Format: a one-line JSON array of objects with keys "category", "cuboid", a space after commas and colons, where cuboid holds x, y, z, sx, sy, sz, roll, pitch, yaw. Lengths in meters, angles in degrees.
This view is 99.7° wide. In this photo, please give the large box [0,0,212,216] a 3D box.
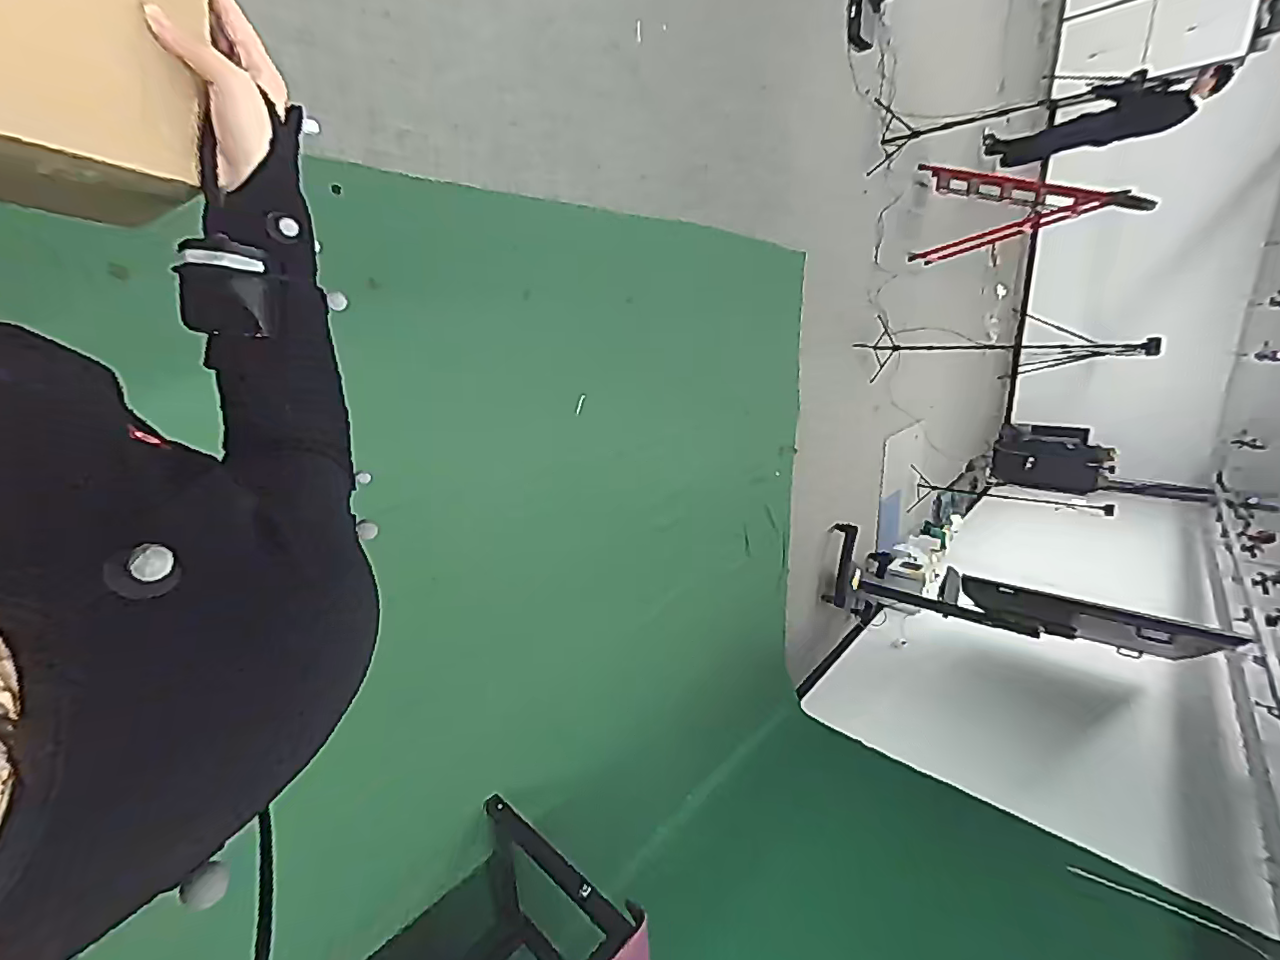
[{"category": "large box", "cuboid": [-0.542, -0.380, 0.307, 0.408, 0.320, 0.320, -8, 108, -50]}]
